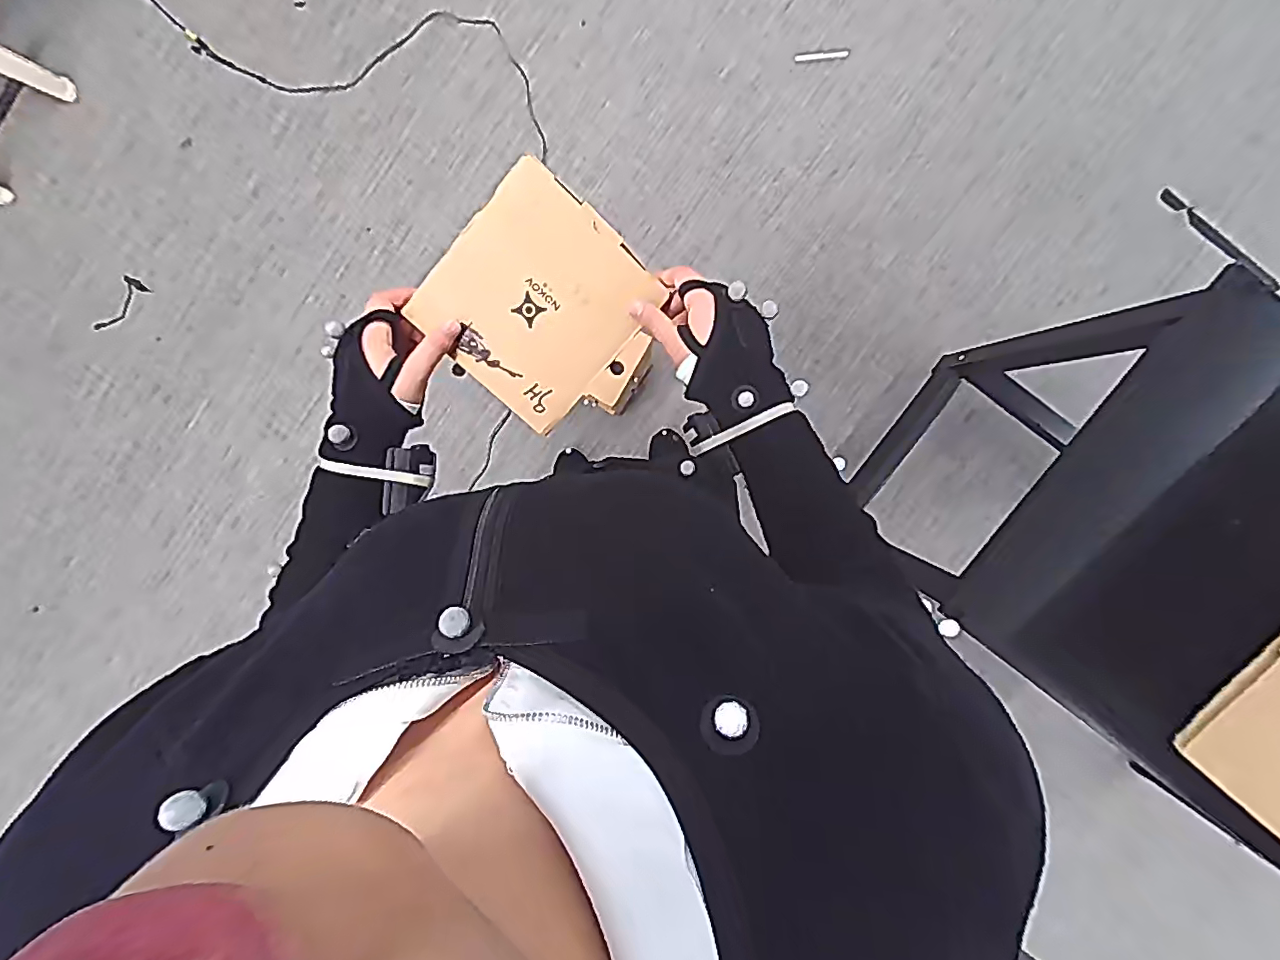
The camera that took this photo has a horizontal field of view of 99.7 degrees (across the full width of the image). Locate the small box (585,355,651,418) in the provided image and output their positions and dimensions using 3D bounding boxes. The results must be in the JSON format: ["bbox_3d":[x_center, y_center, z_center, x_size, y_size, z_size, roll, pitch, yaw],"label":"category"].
[{"bbox_3d":[-0.086,-0.274,1.392,0.168,0.176,0.179,33,96,-1],"label":"small box"}]

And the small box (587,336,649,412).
[{"bbox_3d":[-0.088,-0.267,1.229,0.168,0.176,0.179,30,93,-2],"label":"small box"}]

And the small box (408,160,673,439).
[{"bbox_3d":[-0.090,-0.170,0.548,0.168,0.176,0.179,41,100,-10],"label":"small box"}]
